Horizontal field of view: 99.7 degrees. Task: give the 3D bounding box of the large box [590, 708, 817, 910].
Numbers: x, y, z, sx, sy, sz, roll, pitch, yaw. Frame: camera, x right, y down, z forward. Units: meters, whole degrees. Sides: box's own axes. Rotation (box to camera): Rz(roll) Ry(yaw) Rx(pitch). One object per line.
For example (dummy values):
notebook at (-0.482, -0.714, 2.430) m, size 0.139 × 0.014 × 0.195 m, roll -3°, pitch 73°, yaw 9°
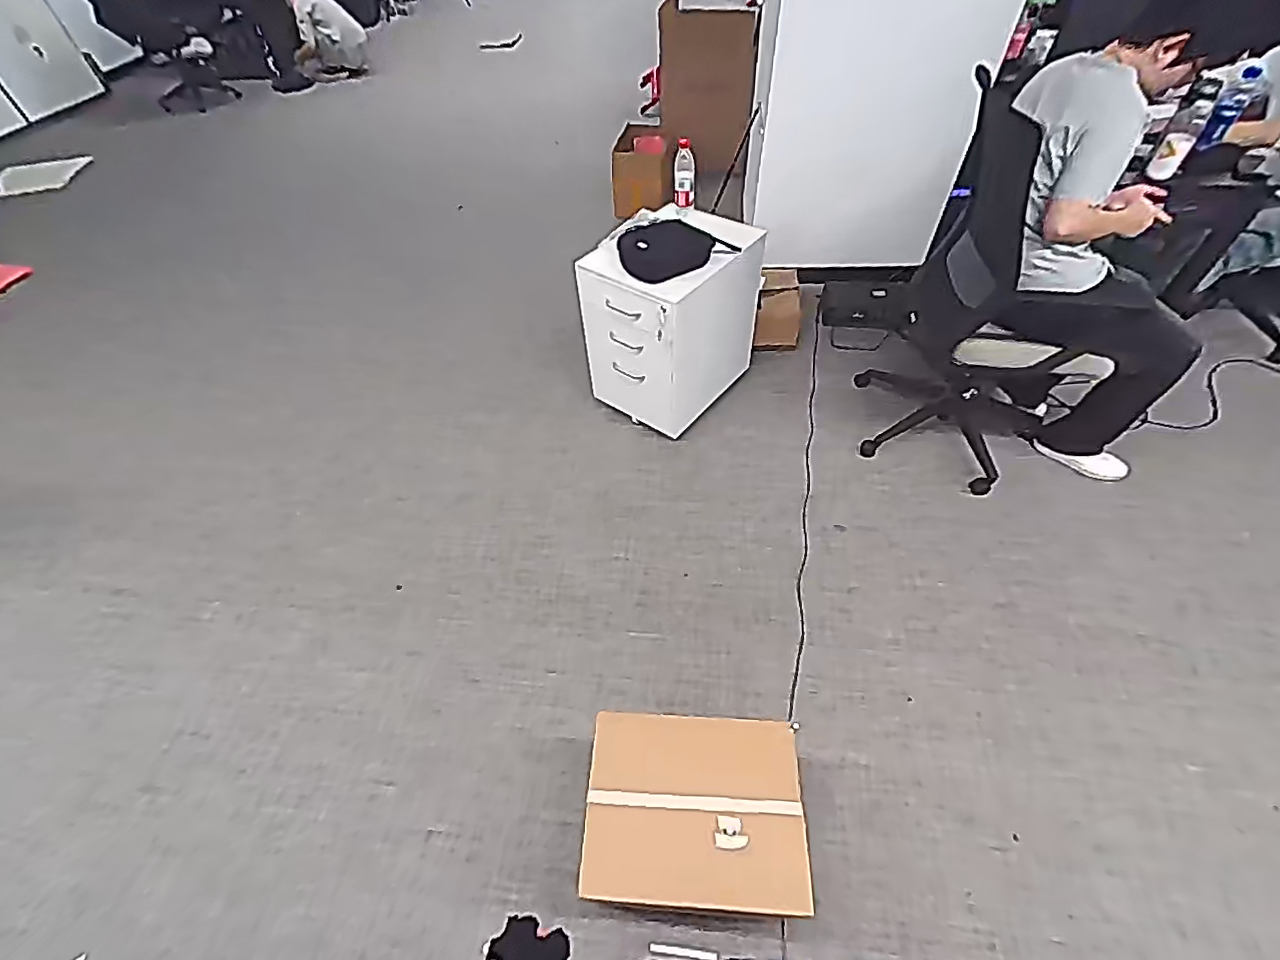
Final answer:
large box at (0.120, 0.698, 1.144) m, size 0.408 × 0.320 × 0.320 m, roll 2°, pitch 51°, yaw 4°
